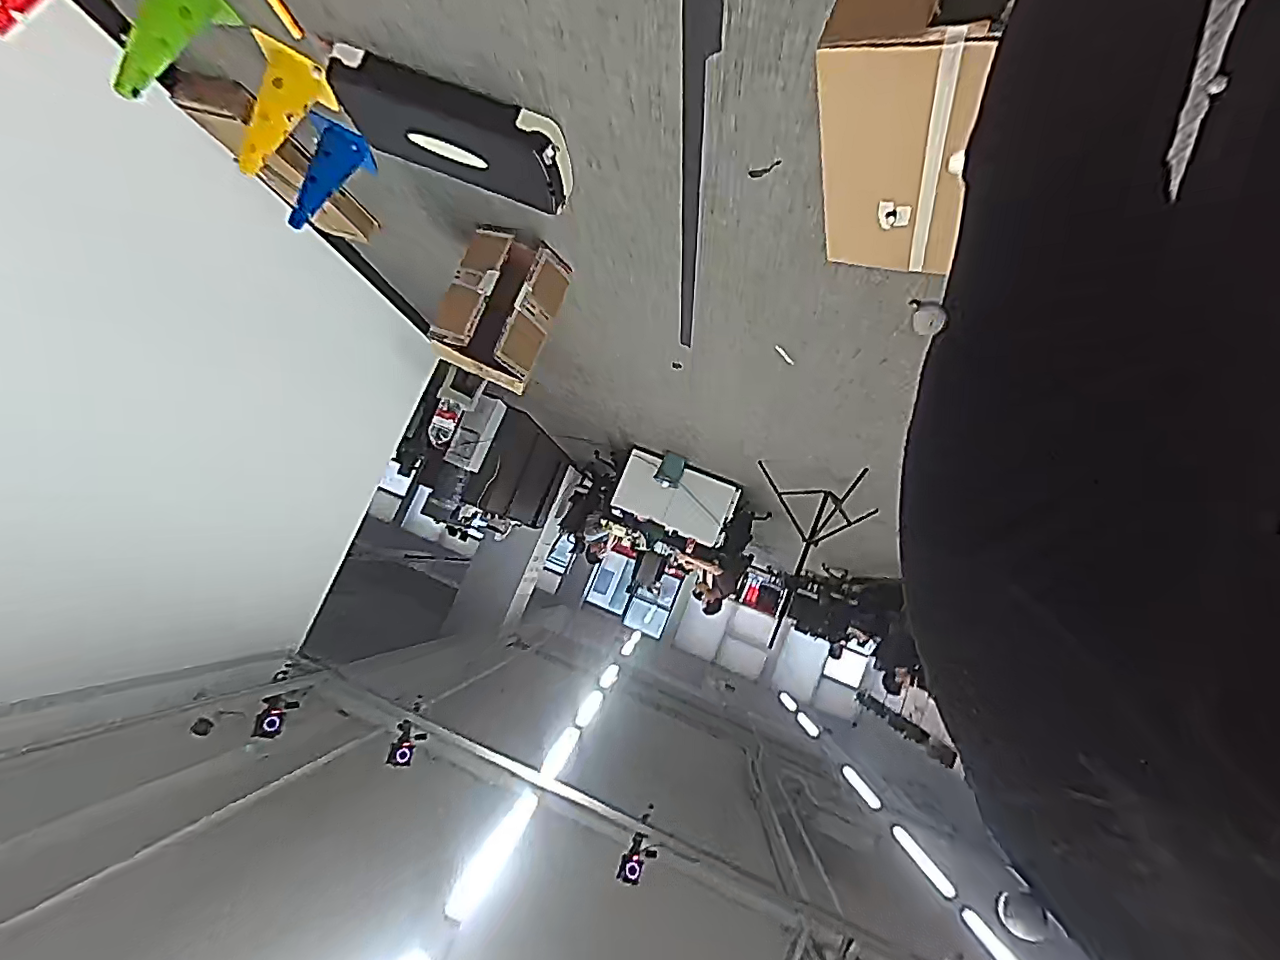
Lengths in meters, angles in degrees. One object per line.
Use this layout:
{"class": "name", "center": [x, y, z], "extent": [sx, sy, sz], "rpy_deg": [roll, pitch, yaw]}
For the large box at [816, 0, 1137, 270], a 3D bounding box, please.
{"class": "large box", "center": [0.468, -0.568, 0.770], "extent": [0.320, 0.320, 0.408], "rpy_deg": [20, 173, 26]}
